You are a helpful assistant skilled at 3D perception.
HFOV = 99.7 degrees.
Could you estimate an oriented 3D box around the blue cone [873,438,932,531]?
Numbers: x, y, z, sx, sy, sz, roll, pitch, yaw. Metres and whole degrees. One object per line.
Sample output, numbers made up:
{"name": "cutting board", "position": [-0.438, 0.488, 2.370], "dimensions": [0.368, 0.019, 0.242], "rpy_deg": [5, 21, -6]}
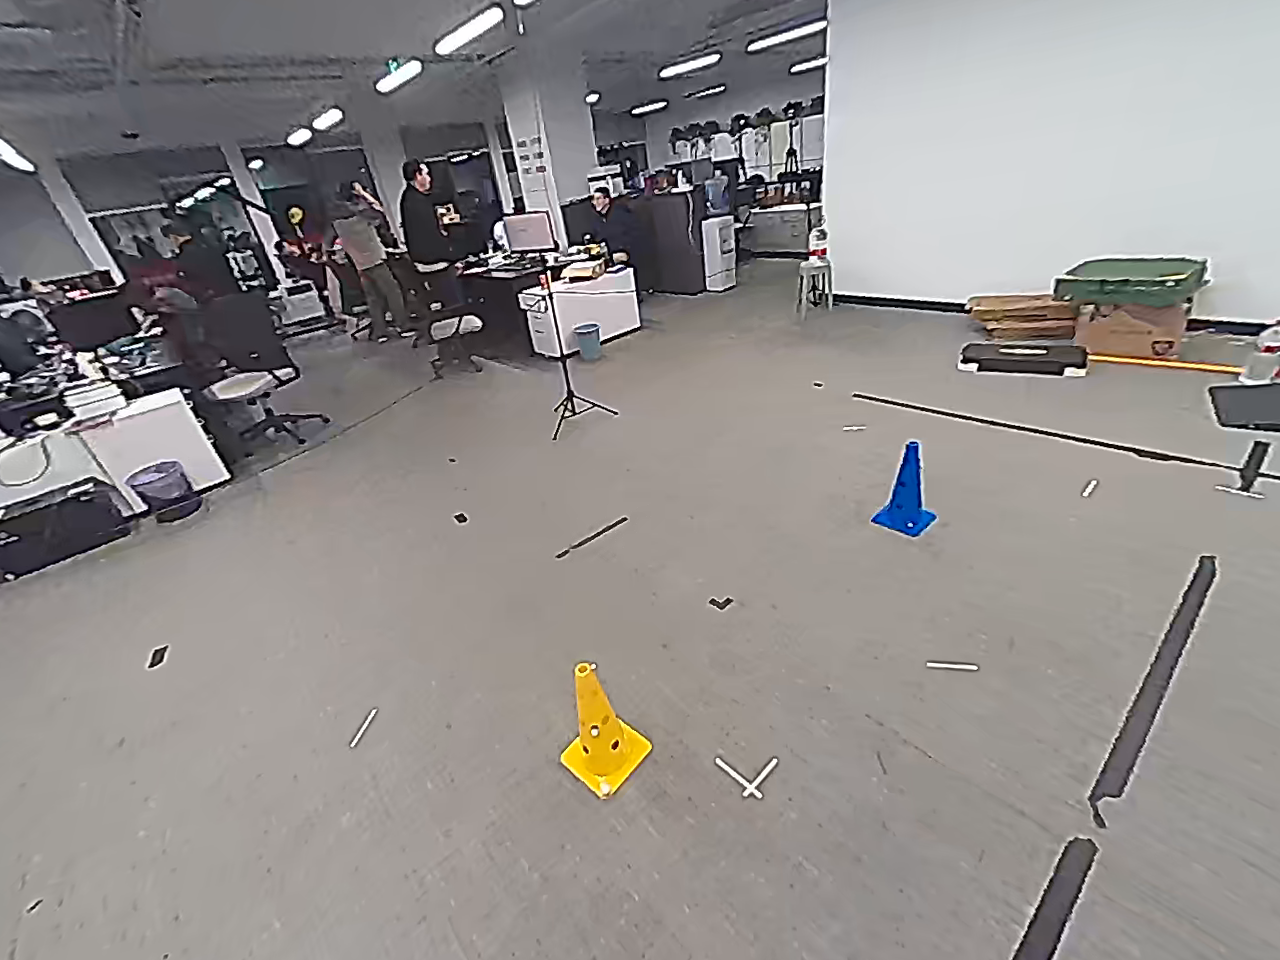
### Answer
{"name": "blue cone", "position": [1.082, 0.008, 2.193], "dimensions": [0.193, 0.380, 0.192], "rpy_deg": [-29, 34, -30]}
